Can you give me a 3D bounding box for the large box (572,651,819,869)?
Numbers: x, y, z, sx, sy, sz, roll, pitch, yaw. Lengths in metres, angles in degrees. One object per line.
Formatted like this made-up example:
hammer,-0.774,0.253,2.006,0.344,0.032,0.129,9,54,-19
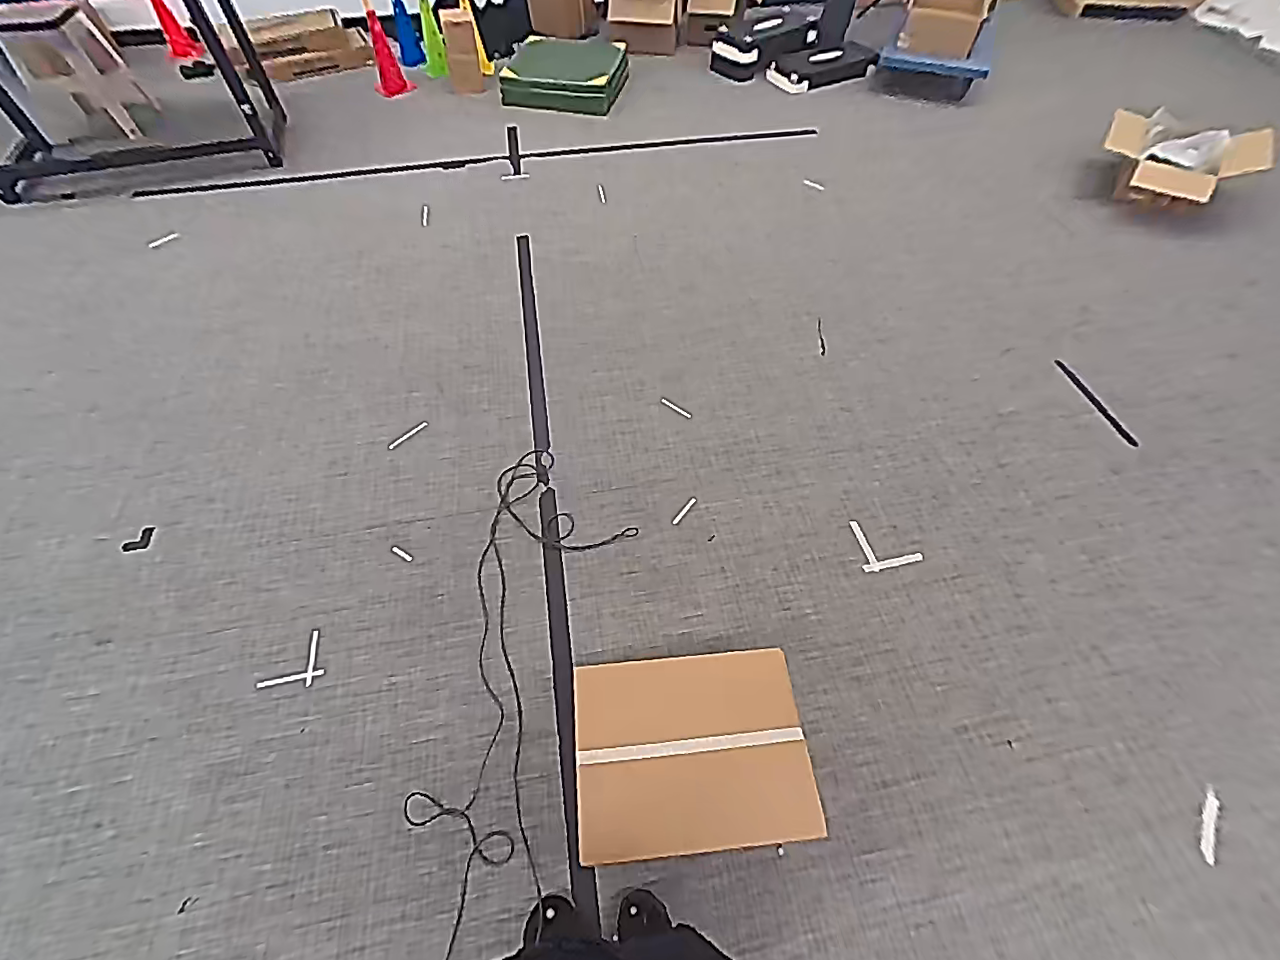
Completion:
large box,0.083,0.557,1.077,0.408,0.320,0.320,-4,55,-4
